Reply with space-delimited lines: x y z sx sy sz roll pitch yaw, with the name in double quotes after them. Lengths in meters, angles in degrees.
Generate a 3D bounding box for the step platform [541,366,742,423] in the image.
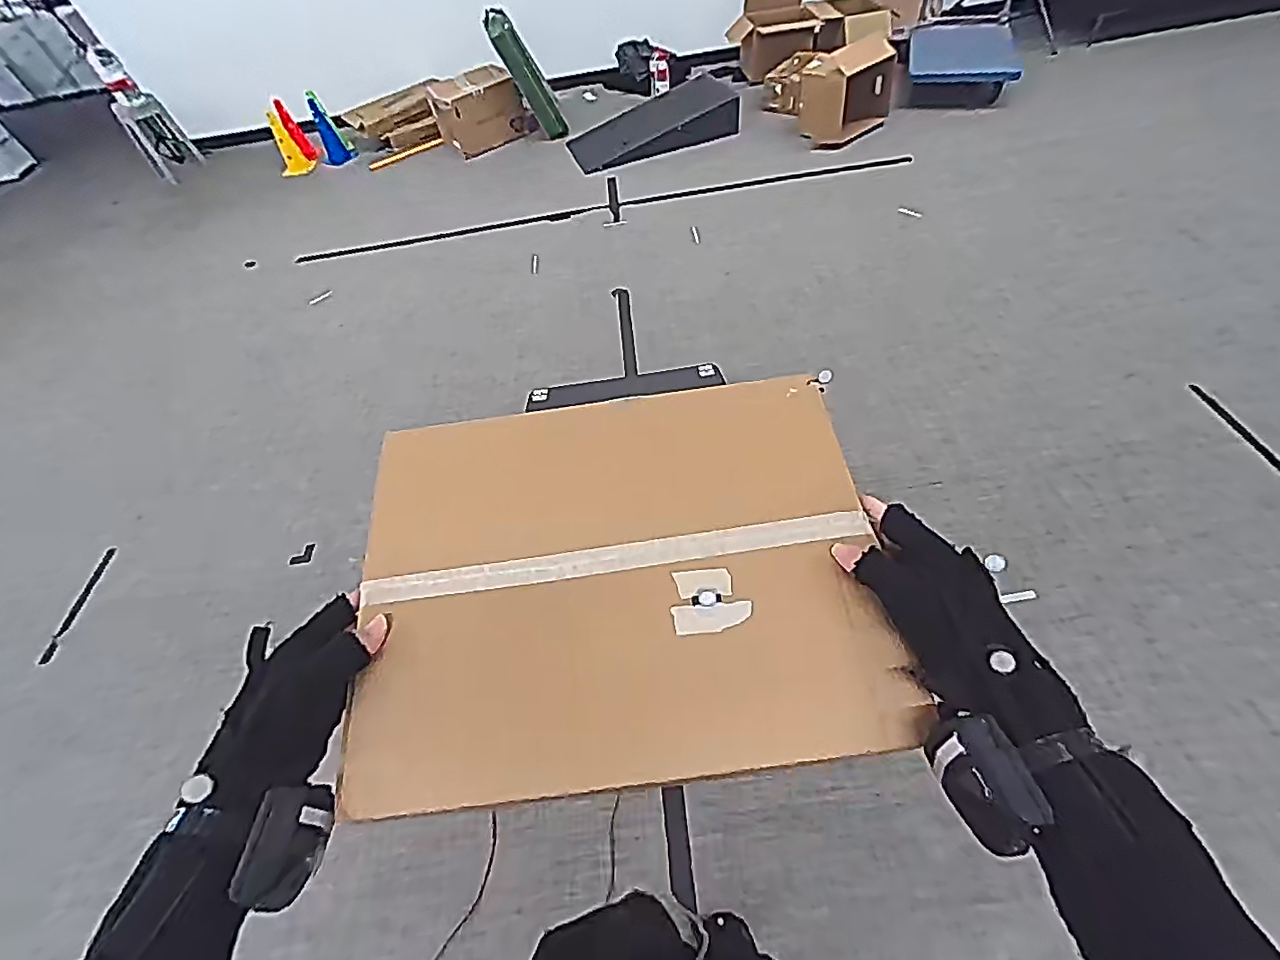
0.011 -0.187 1.825 0.684 0.204 0.286 -8 53 1 "step platform"

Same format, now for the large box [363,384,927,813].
-0.005 0.141 0.573 0.408 0.320 0.320 -8 61 0 "large box"
